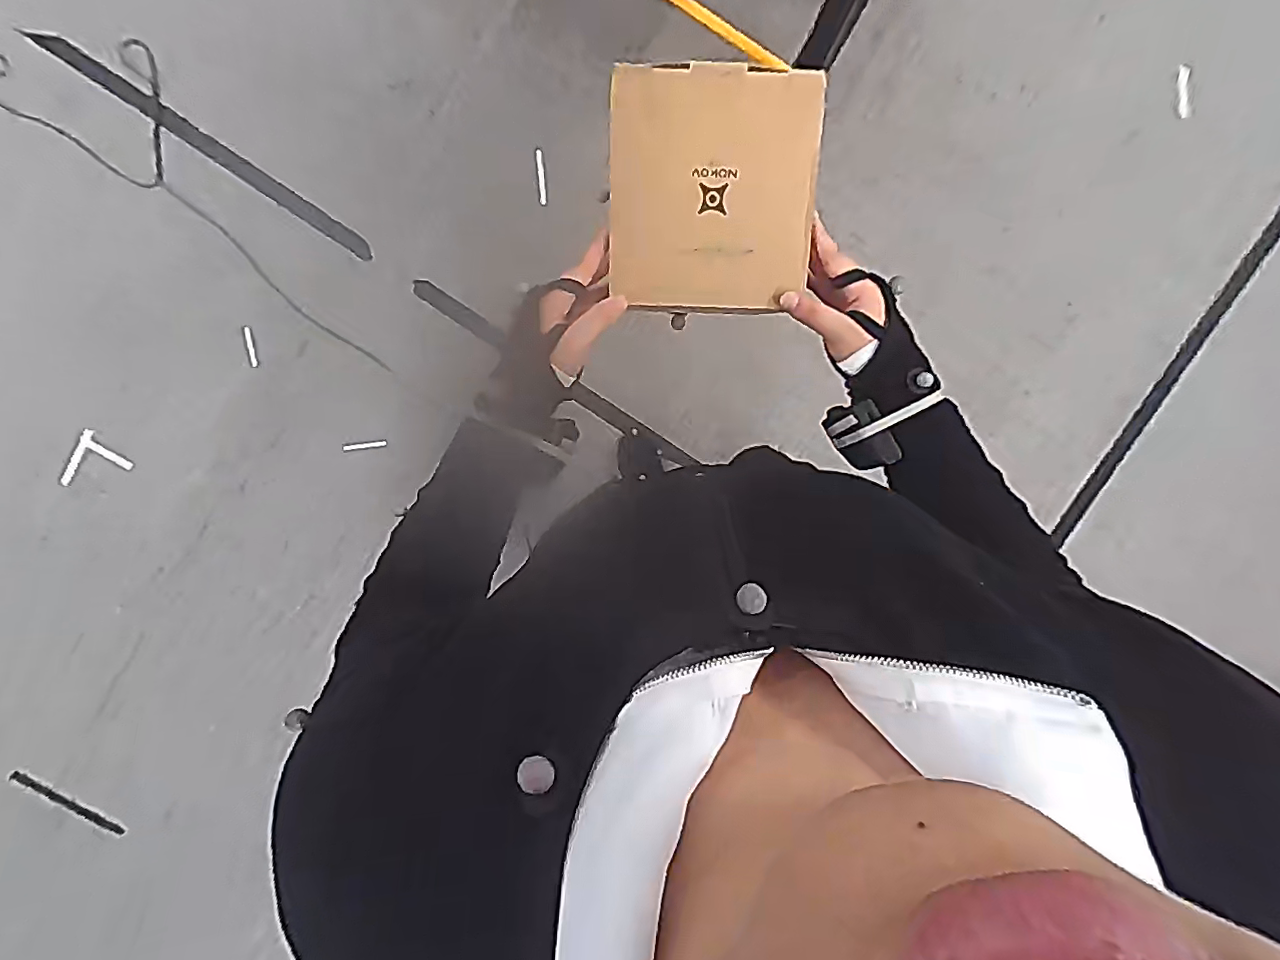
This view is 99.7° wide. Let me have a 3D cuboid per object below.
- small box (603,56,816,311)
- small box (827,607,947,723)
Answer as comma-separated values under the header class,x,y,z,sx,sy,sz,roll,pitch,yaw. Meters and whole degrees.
class,x,y,z,sx,sy,sz,roll,pitch,yaw
small box,0.050,-0.257,0.512,0.168,0.176,0.179,1,106,-2
small box,0.578,0.432,1.296,0.168,0.176,0.179,30,96,-3
